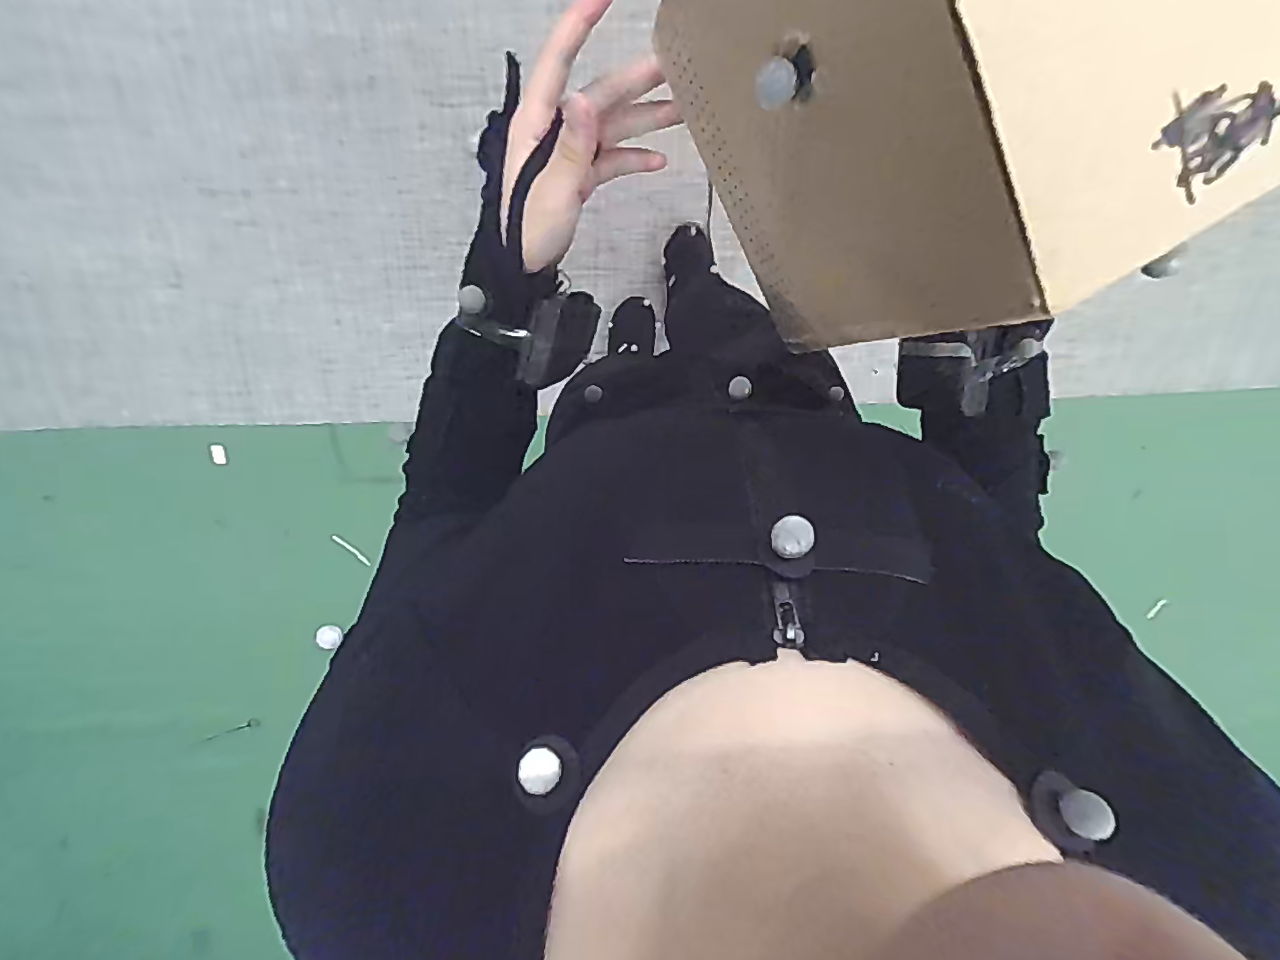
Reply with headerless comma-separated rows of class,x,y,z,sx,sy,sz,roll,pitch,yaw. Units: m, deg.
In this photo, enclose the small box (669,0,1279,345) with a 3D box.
small box,0.130,-0.174,0.224,0.168,0.176,0.179,-30,102,-3
